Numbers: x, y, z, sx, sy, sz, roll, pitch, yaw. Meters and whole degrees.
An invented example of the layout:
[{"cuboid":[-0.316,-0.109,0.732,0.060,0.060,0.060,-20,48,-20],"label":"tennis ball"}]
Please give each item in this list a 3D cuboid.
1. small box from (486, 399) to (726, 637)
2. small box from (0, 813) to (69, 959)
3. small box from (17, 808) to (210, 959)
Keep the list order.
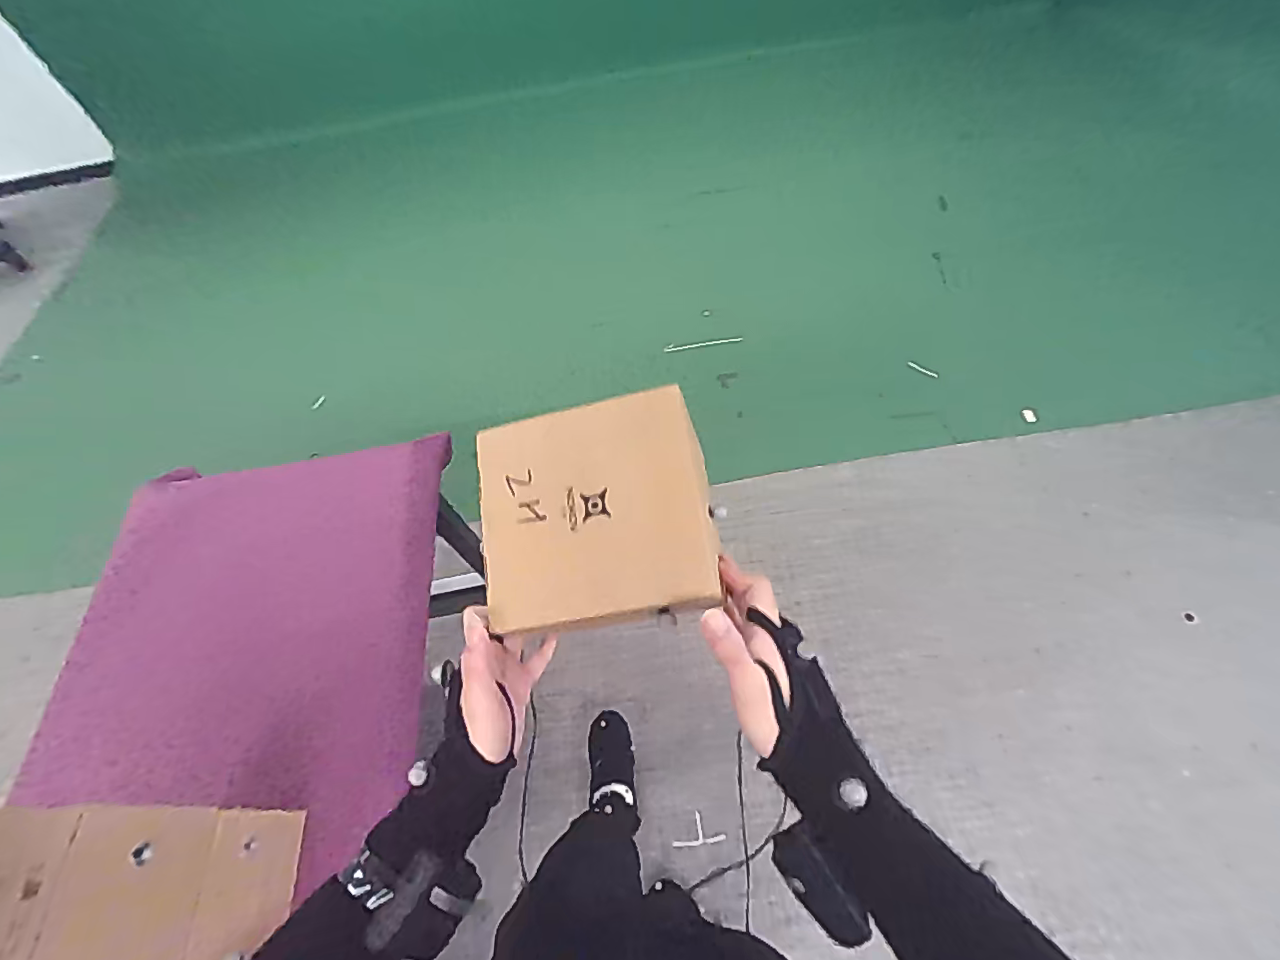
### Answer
[{"cuboid":[-0.020,0.049,0.496,0.179,0.176,0.168,-12,71,10],"label":"small box"},{"cuboid":[-0.612,0.355,0.403,0.179,0.176,0.168,-11,56,1],"label":"small box"},{"cuboid":[-0.585,0.442,0.538,0.168,0.176,0.179,-10,57,2],"label":"small box"}]
